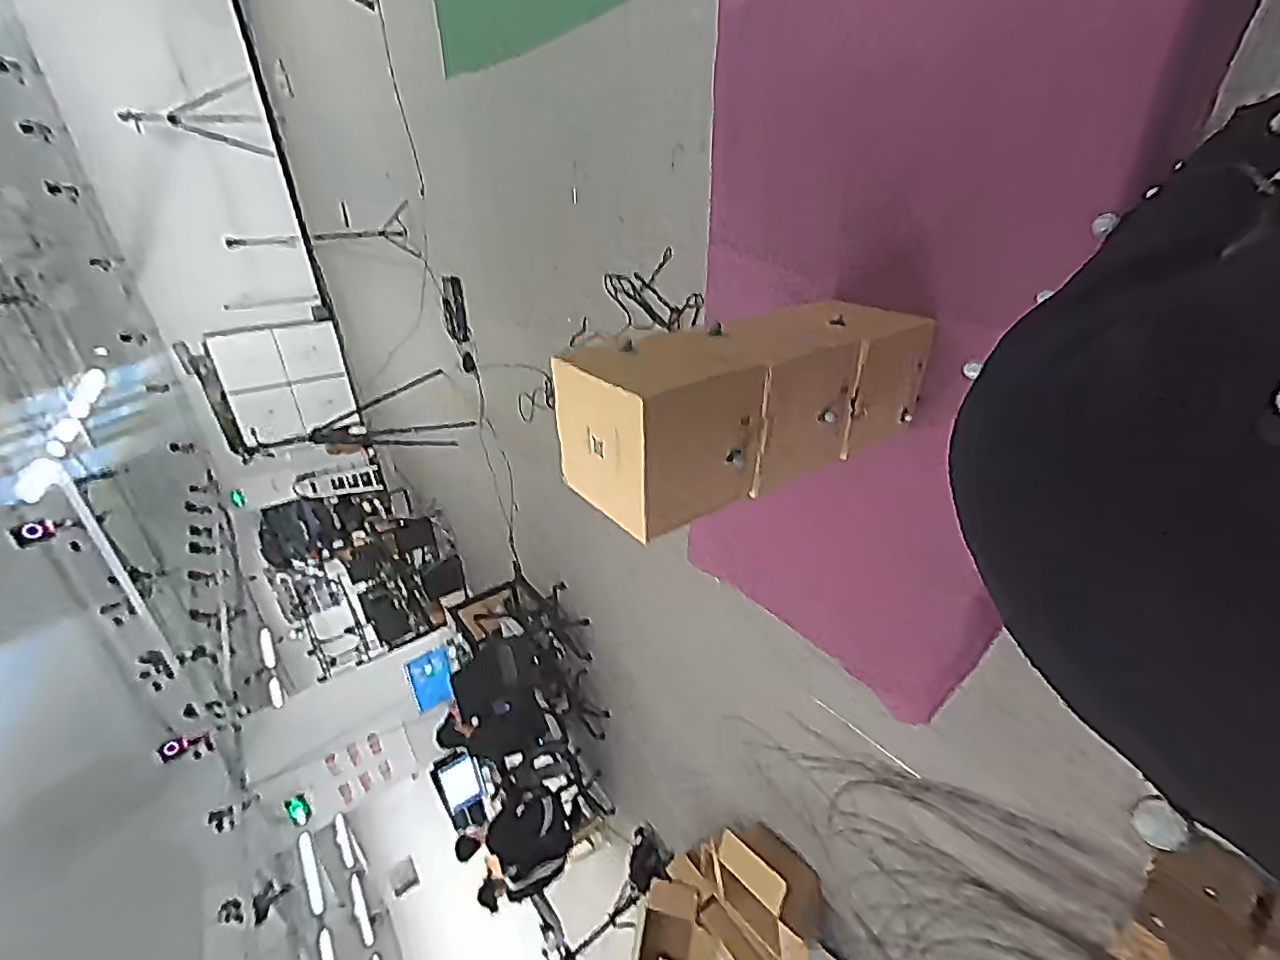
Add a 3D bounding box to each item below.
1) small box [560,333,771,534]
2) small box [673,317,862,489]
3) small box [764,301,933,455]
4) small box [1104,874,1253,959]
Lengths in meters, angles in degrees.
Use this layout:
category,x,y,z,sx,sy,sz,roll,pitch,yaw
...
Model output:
category,x,y,z,sx,sy,sz,roll,pitch,yaw
small box,0.025,-0.068,0.633,0.179,0.176,0.168,33,133,44
small box,0.157,-0.113,0.715,0.179,0.176,0.168,33,133,44
small box,0.294,-0.160,0.795,0.179,0.176,0.168,34,133,44
small box,1.178,1.028,1.185,0.179,0.176,0.168,30,131,46
